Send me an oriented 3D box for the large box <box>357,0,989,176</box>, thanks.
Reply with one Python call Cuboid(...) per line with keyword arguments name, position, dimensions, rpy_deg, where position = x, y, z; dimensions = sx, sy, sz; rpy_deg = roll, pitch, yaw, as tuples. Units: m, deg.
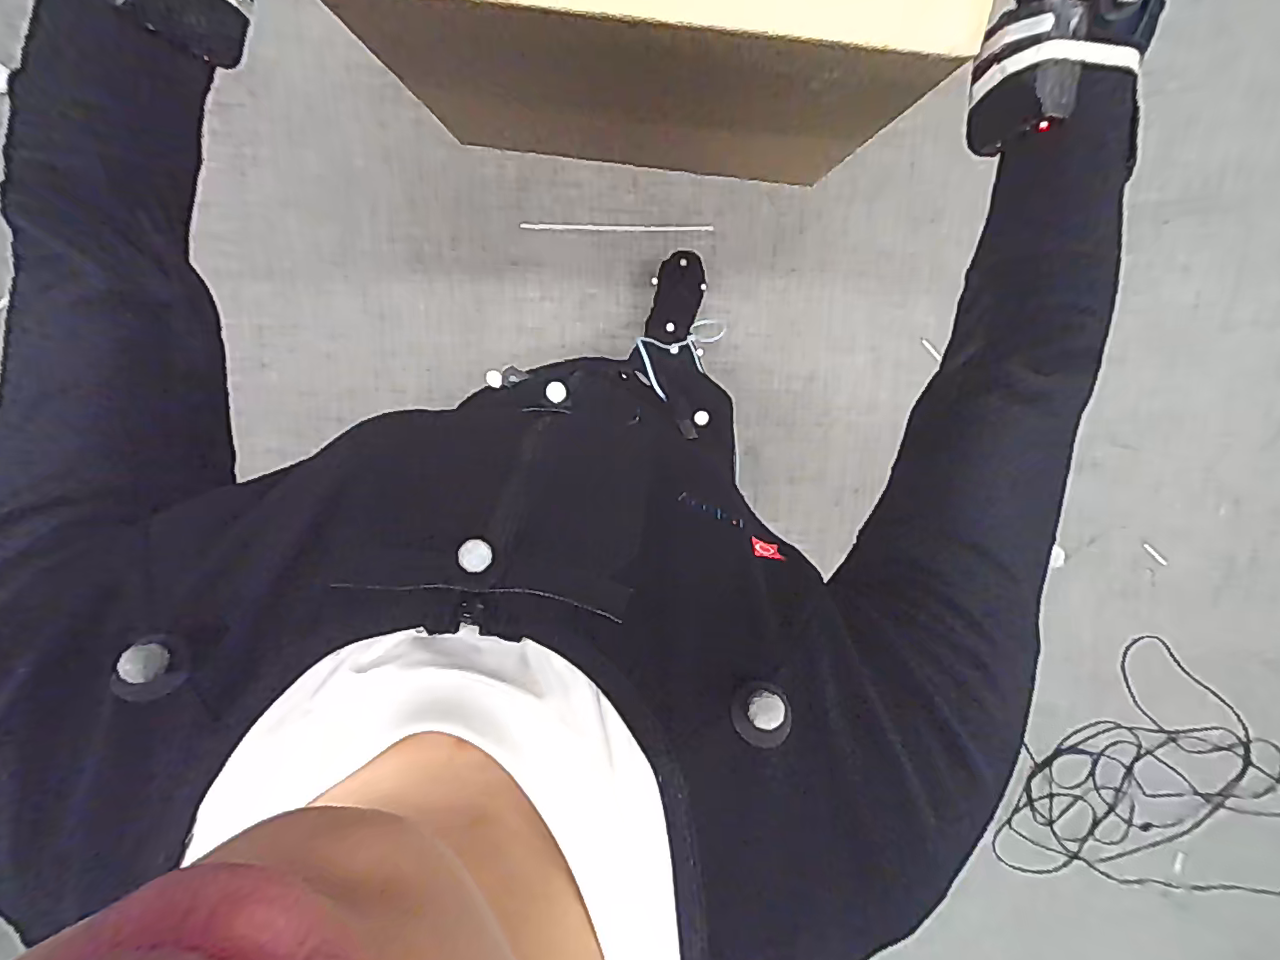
Cuboid(name="large box", position=(0.021, -0.467, 0.431), dimensions=(0.408, 0.320, 0.320), rpy_deg=(5, 106, -3))
